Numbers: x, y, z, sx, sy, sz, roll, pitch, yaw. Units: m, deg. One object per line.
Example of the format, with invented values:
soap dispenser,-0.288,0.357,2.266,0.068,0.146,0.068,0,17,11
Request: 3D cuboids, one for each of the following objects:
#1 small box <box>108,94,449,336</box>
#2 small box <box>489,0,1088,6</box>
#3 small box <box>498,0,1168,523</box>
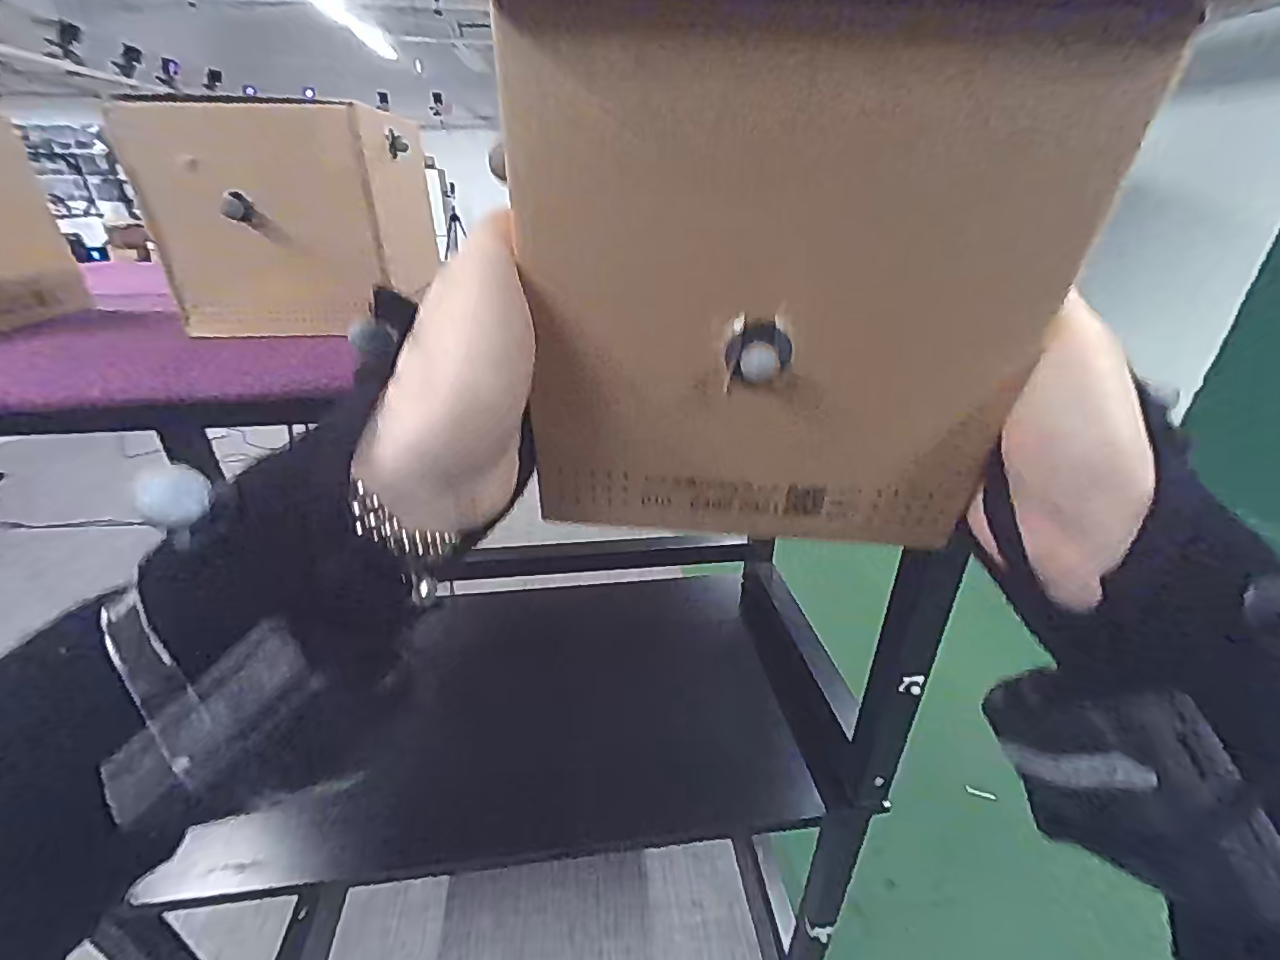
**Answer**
small box,-0.290,-0.230,0.487,0.179,0.176,0.168,-2,29,-4
small box,0.053,-0.220,0.135,0.179,0.176,0.168,2,36,2
small box,0.049,-0.098,0.244,0.168,0.176,0.179,4,36,2
